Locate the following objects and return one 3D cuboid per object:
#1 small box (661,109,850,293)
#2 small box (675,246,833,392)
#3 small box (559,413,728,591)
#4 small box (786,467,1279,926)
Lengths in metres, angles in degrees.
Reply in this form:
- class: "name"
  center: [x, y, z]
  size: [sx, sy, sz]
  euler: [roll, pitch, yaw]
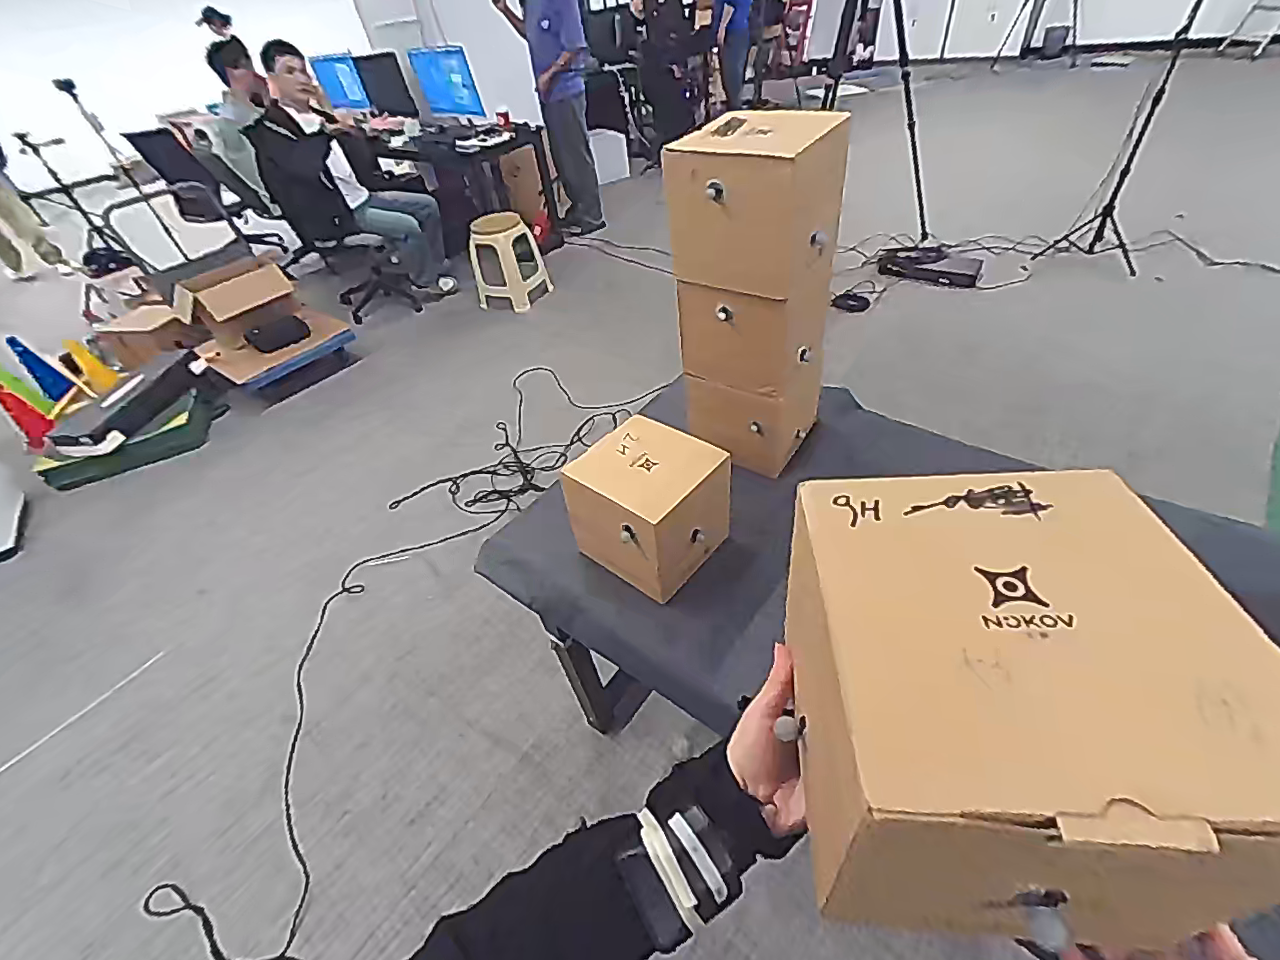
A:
- class: "small box"
  center: [0.149, -0.367, 0.713]
  size: [0.179, 0.176, 0.168]
  euler: [24, 55, 29]
- class: "small box"
  center: [0.173, -0.259, 0.834]
  size: [0.179, 0.176, 0.168]
  euler: [22, 54, 27]
- class: "small box"
  center: [0.012, 0.034, 0.788]
  size: [0.179, 0.176, 0.168]
  euler: [27, 52, 32]
- class: "small box"
  center: [0.175, 0.114, 0.292]
  size: [0.168, 0.176, 0.179]
  euler: [-2, 42, 8]
